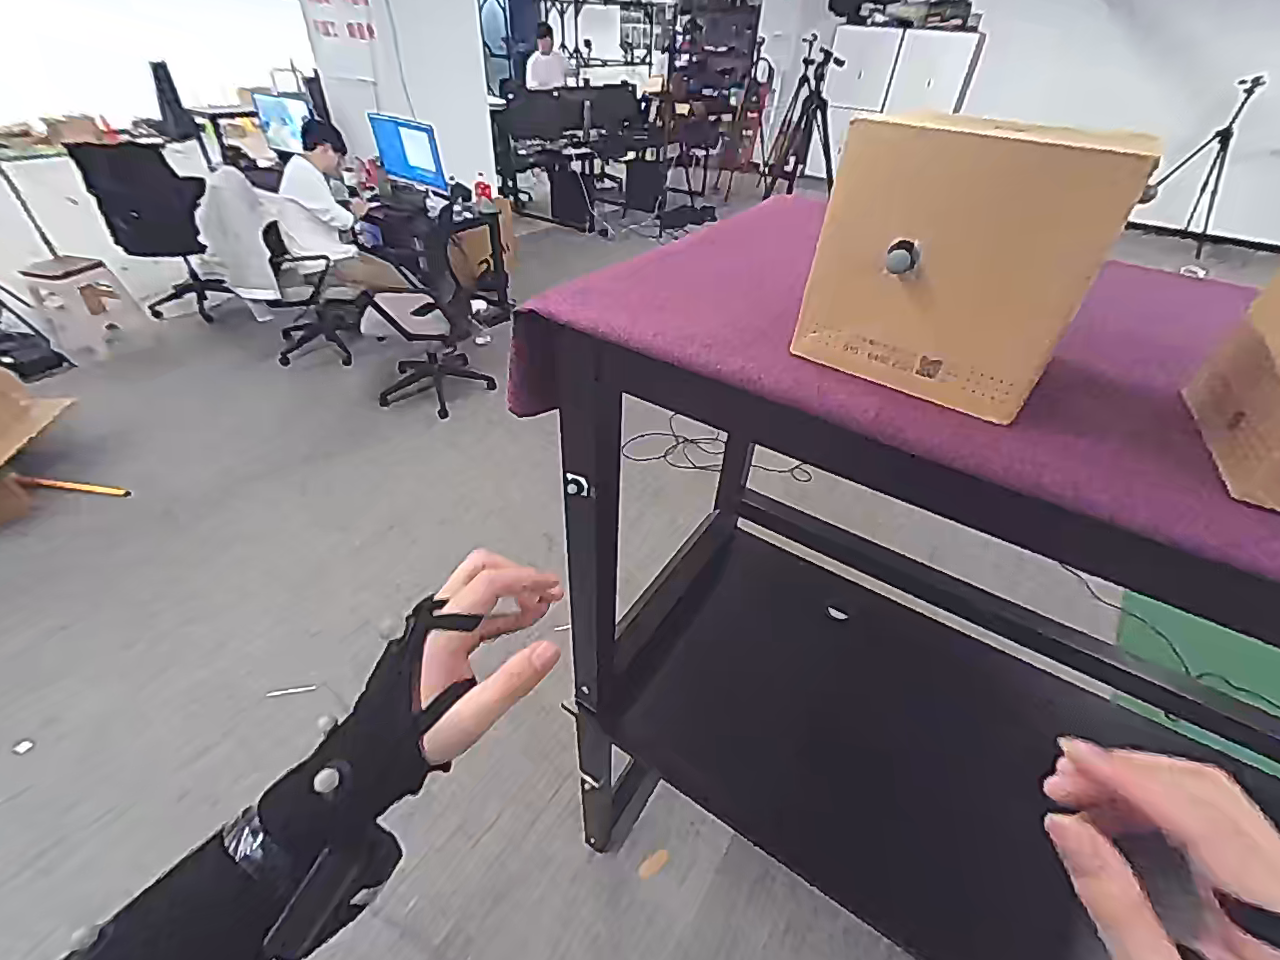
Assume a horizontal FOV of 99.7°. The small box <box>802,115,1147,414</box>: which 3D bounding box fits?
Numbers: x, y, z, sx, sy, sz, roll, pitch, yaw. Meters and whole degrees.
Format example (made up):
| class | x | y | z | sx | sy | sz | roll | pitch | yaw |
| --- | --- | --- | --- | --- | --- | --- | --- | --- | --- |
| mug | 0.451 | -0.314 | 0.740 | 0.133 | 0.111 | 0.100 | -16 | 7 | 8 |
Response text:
| class | x | y | z | sx | sy | sz | roll | pitch | yaw |
| --- | --- | --- | --- | --- | --- | --- | --- | --- | --- |
| small box | 0.242 | -0.173 | 0.419 | 0.168 | 0.176 | 0.179 | 27 | 43 | 26 |
